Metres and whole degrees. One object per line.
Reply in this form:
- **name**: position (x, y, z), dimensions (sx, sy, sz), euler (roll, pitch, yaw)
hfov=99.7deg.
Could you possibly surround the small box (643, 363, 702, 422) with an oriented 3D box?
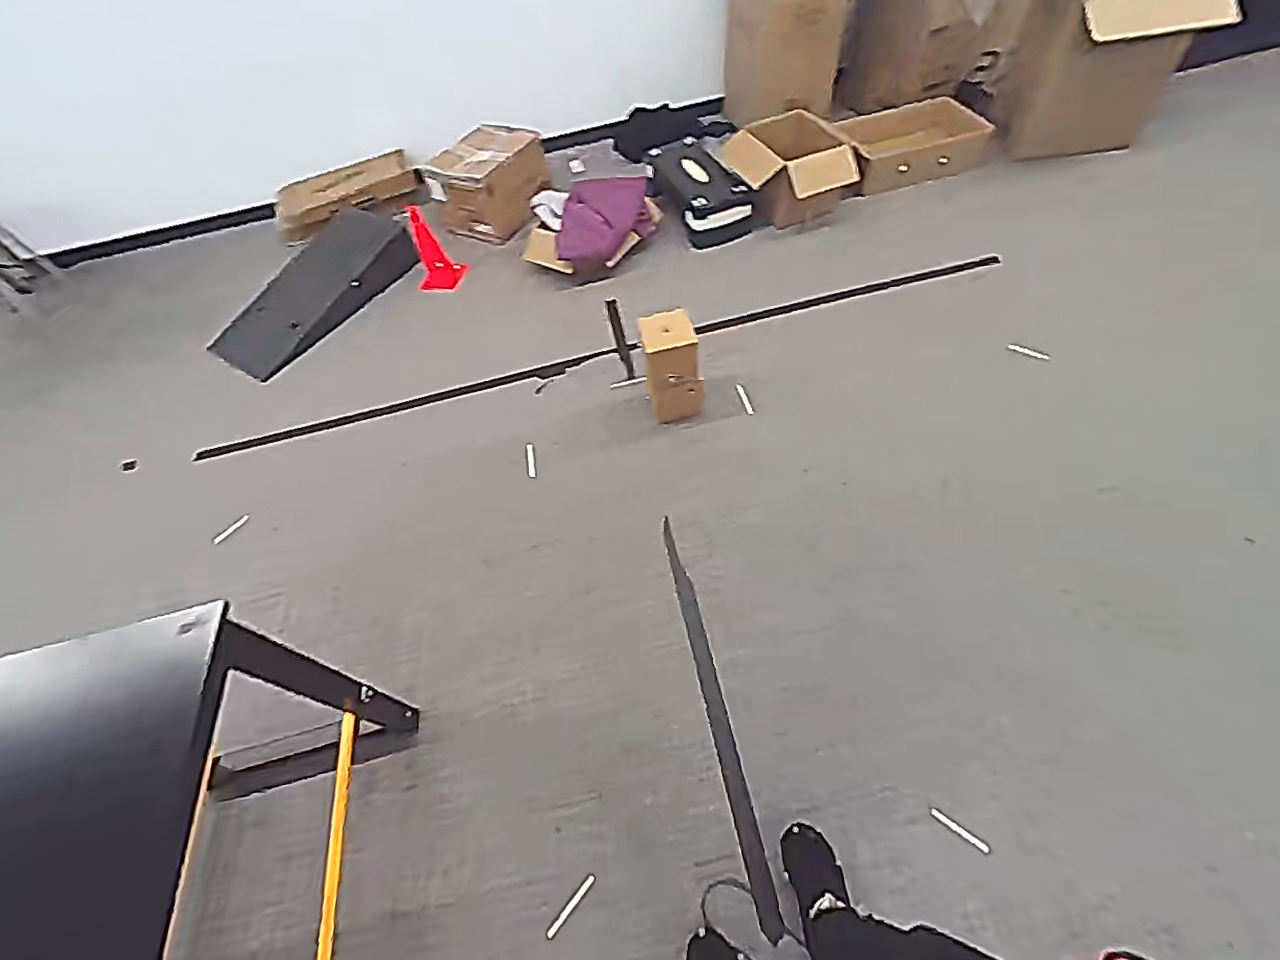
- **small box**: position (0.117, -0.335, 1.933), dimensions (0.179, 0.176, 0.168), euler (-14, 55, -2)

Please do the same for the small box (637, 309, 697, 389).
- **small box**: position (0.091, -0.436, 1.807), dimensions (0.168, 0.176, 0.179), euler (-13, 56, 0)
